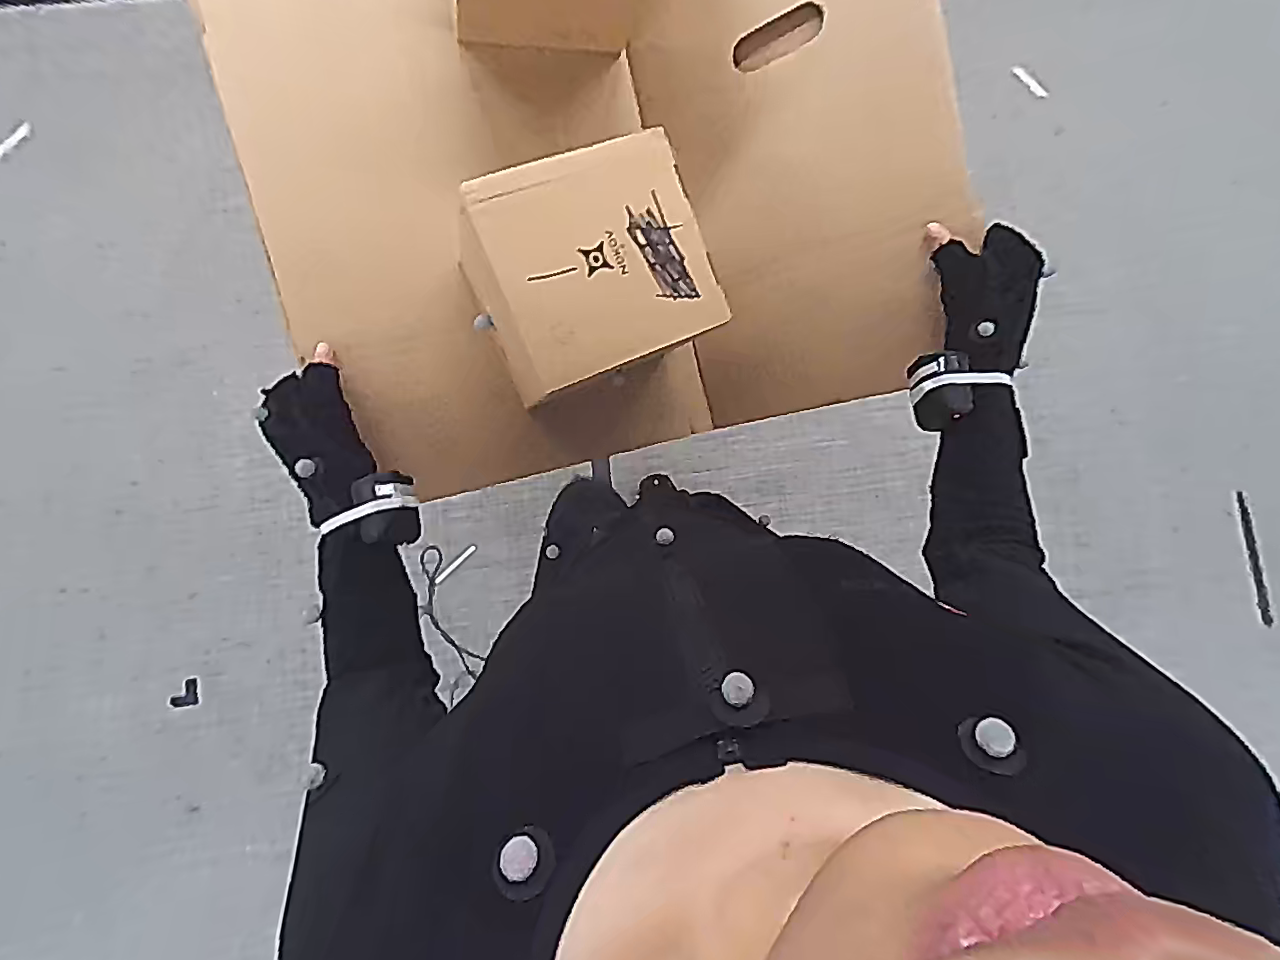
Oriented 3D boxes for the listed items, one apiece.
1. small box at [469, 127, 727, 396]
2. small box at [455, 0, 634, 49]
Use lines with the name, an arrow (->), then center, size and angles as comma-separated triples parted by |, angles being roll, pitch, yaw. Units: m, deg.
small box -> -0.051, -0.190, 0.515 | 0.179, 0.176, 0.168 | -25, 100, -14
small box -> -0.088, -0.536, 0.489 | 0.179, 0.176, 0.168 | -9, 95, -18
